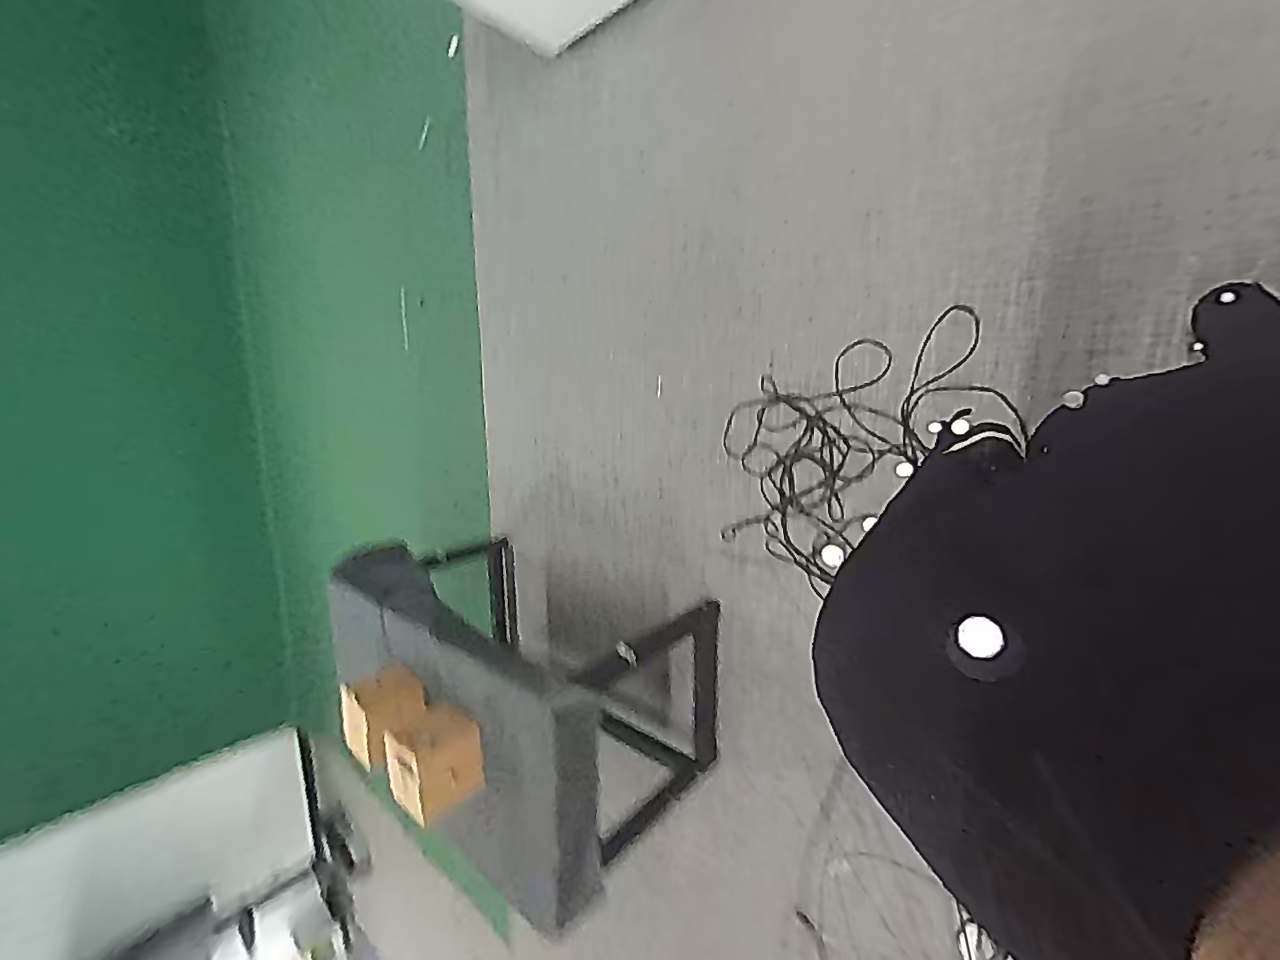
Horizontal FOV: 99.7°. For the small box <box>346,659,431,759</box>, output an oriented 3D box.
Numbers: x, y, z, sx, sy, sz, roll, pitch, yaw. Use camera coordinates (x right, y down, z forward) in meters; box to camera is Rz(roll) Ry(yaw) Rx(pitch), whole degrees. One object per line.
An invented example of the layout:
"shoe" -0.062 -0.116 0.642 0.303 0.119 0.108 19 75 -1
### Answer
"small box" -0.716 0.643 1.547 0.168 0.176 0.179 17 110 40
